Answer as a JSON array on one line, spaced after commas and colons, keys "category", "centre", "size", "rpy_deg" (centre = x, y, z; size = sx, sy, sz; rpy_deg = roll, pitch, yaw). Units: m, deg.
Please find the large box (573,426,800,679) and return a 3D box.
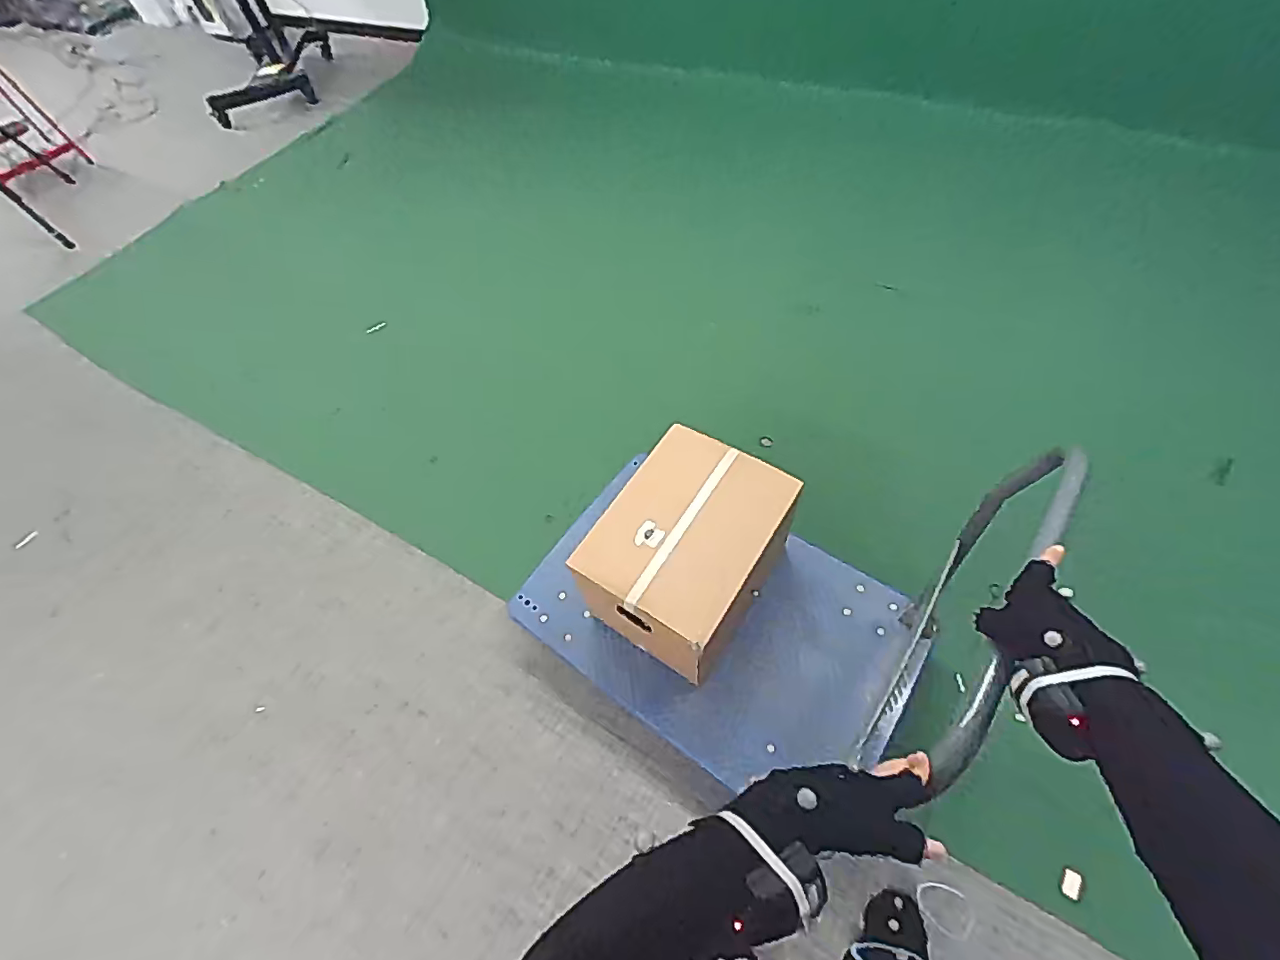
[{"category": "large box", "centre": [0.113, 0.162, 1.212], "size": [0.320, 0.320, 0.408], "rpy_deg": [28, 65, 22]}]
